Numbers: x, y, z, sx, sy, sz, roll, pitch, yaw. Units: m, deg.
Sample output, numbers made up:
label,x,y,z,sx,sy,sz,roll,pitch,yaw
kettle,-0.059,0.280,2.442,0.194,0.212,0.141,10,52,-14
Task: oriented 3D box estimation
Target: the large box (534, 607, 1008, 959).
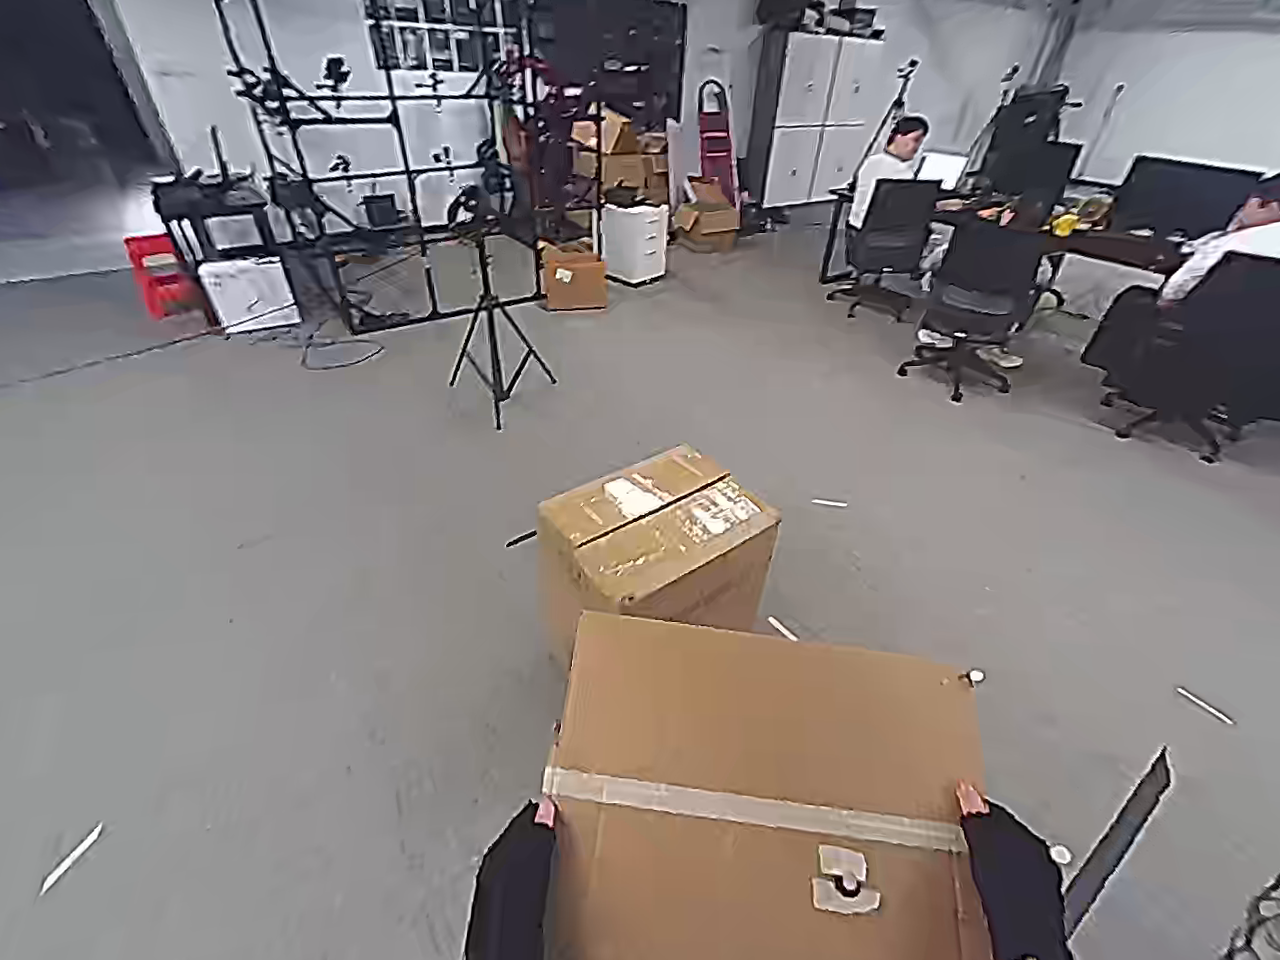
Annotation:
label,x,y,z,sx,sy,sz,roll,pitch,yaw
large box,0.117,0.355,0.633,0.408,0.320,0.320,7,66,1
